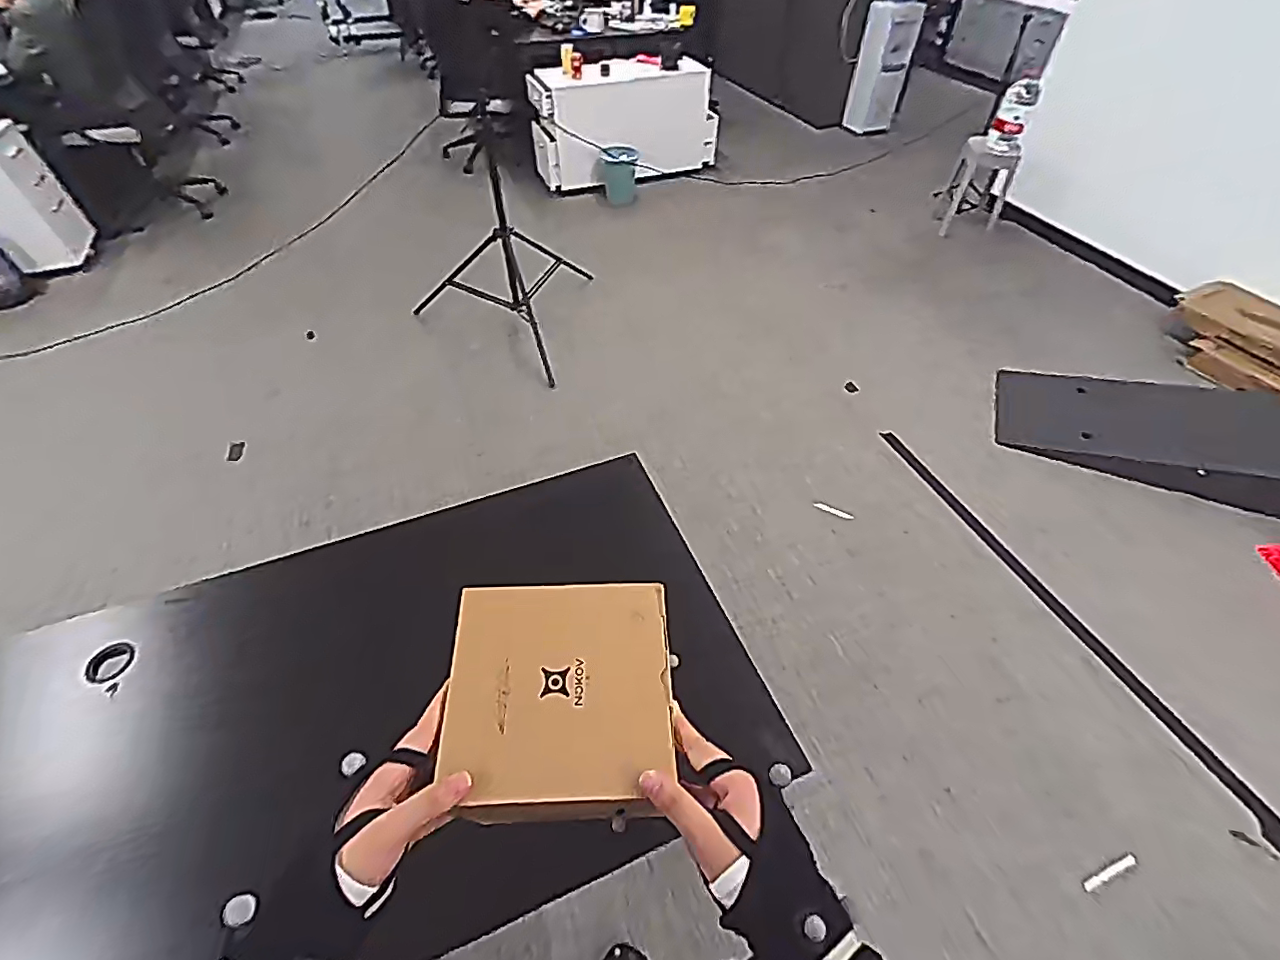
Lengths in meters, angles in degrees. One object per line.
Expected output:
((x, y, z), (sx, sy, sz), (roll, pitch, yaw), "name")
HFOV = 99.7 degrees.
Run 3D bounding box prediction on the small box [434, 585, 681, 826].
((-0.062, 0.208, 0.491), (0.179, 0.176, 0.168), (-3, 53, -2), "small box")
